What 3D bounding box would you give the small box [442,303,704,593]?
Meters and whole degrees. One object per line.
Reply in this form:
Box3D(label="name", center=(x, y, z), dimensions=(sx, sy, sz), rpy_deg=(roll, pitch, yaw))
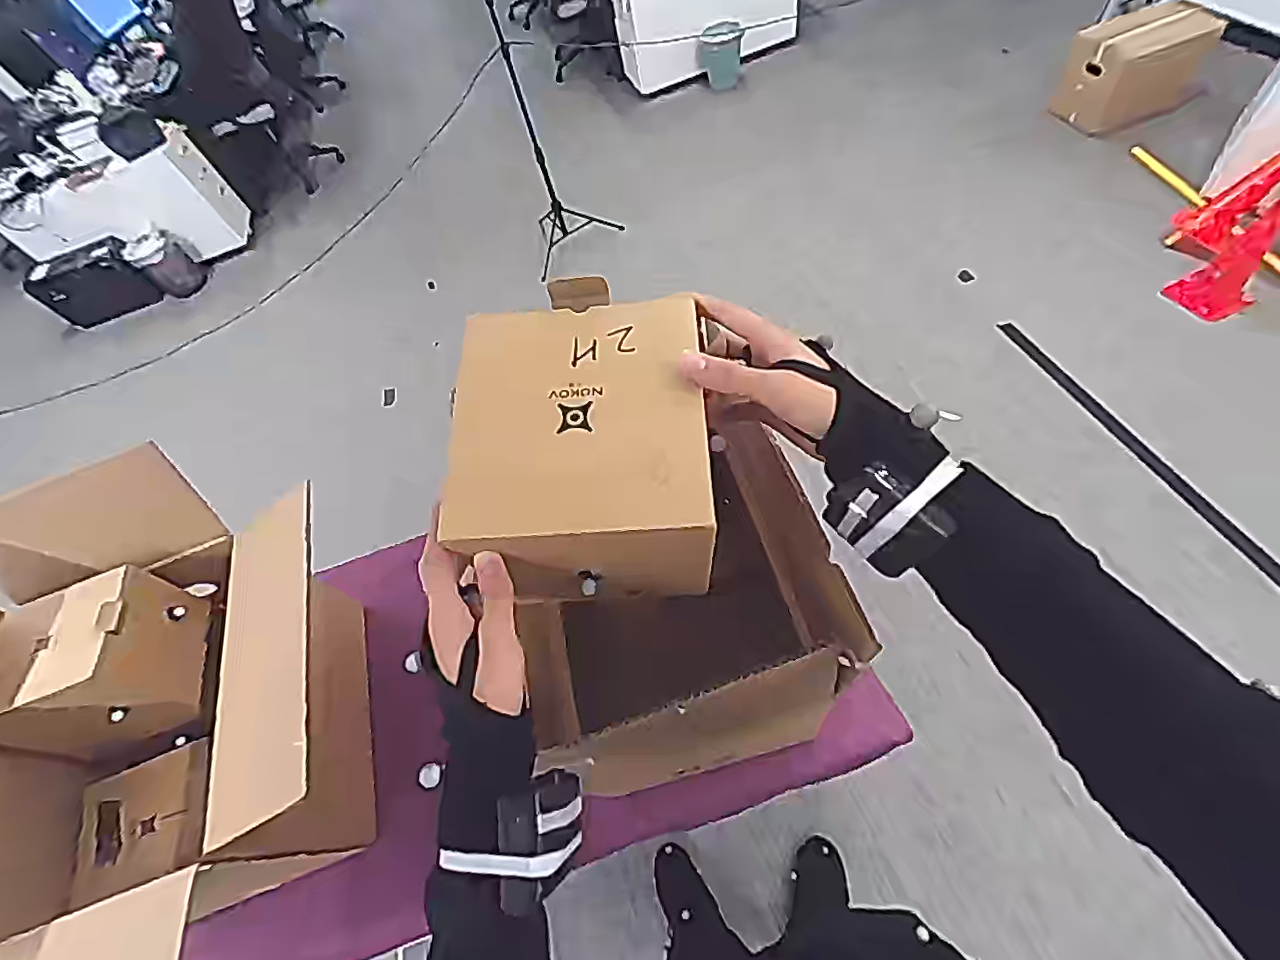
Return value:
Box3D(label="small box", center=(-0.036, -0.011, 0.431), dimensions=(0.168, 0.176, 0.179), rpy_deg=(-3, 64, 3))
